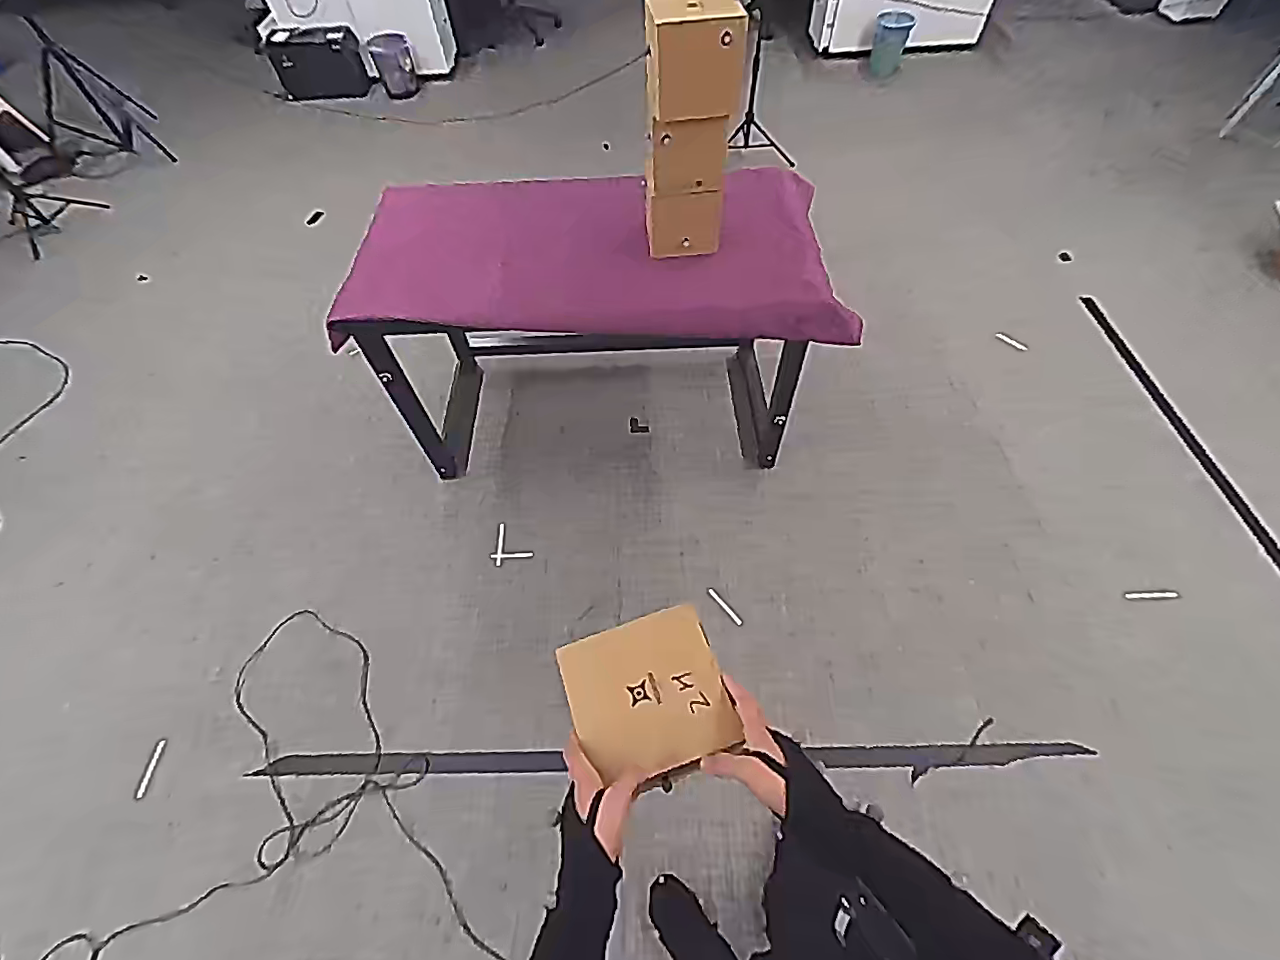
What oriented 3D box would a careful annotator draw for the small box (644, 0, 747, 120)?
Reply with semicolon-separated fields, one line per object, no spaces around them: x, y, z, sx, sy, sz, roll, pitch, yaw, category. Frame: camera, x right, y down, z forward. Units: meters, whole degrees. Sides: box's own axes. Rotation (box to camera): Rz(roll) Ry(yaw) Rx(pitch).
0.107;-0.857;1.094;0.179;0.176;0.168;-7;56;-2;small box

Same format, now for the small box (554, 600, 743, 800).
0.011;0.277;0.666;0.179;0.176;0.168;-18;58;-7;small box

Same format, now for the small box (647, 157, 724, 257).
0.109;-0.691;1.378;0.179;0.176;0.168;-4;56;-1;small box
